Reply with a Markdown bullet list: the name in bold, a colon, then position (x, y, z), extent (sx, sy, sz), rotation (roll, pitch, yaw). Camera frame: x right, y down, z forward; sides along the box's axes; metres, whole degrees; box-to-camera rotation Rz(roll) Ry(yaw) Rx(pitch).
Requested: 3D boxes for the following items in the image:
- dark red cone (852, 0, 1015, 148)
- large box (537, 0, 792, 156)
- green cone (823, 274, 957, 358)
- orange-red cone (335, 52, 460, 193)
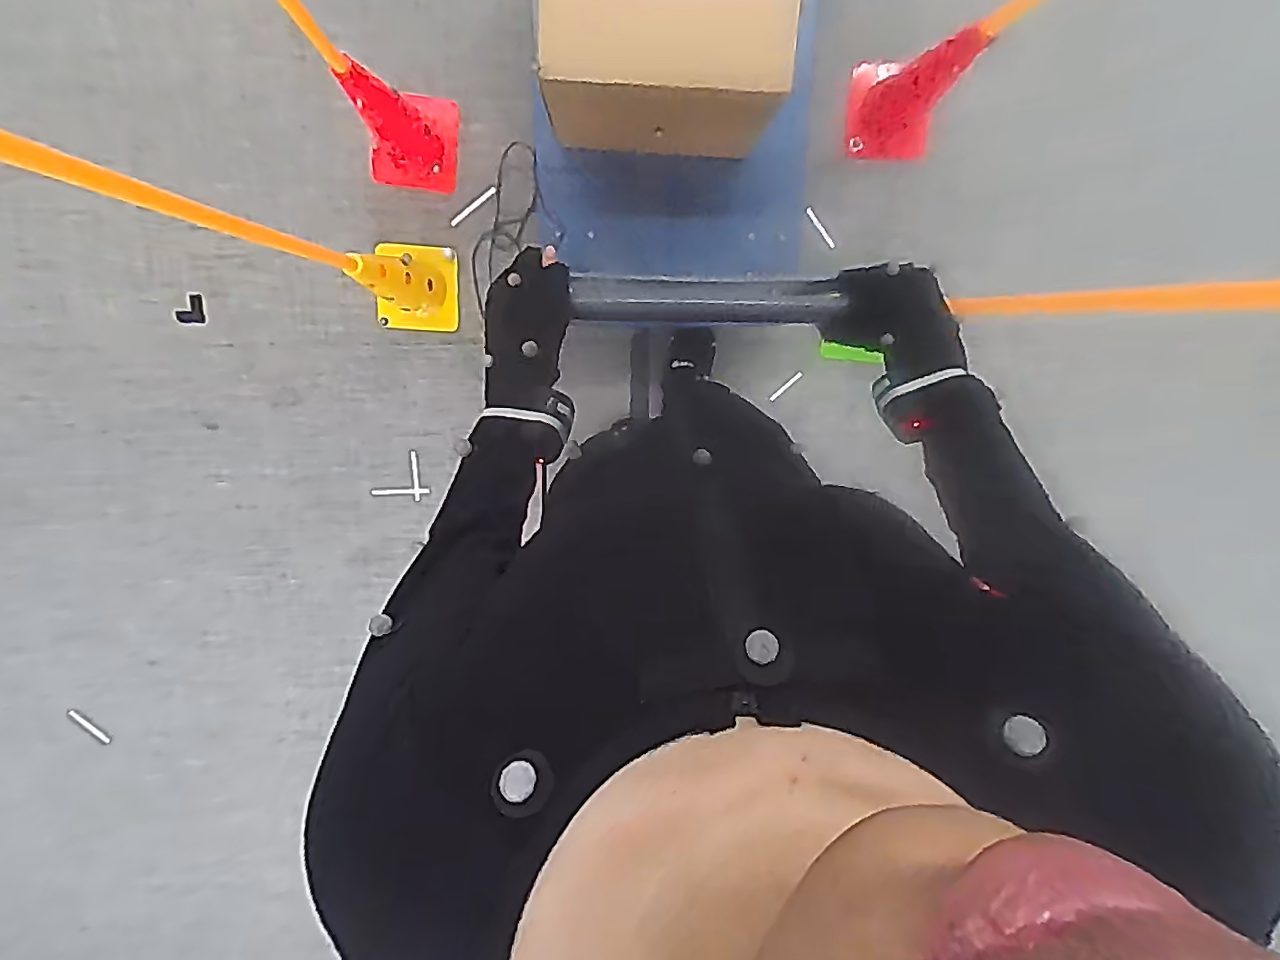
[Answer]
- **dark red cone**: position (0.607, -0.853, 1.107), extent (0.201, 0.394, 0.202), rotation (-1, 103, -4)
- **large box**: position (0.038, -0.804, 0.973), extent (0.408, 0.320, 0.320), rotation (1, 103, -2)
- **green cone**: position (0.586, -0.383, 1.229), extent (0.202, 0.368, 0.200), rotation (3, 102, -4)
- **orange-red cone**: position (-0.523, -0.764, 1.112), extent (0.198, 0.360, 0.199), rotation (7, 101, -4)
